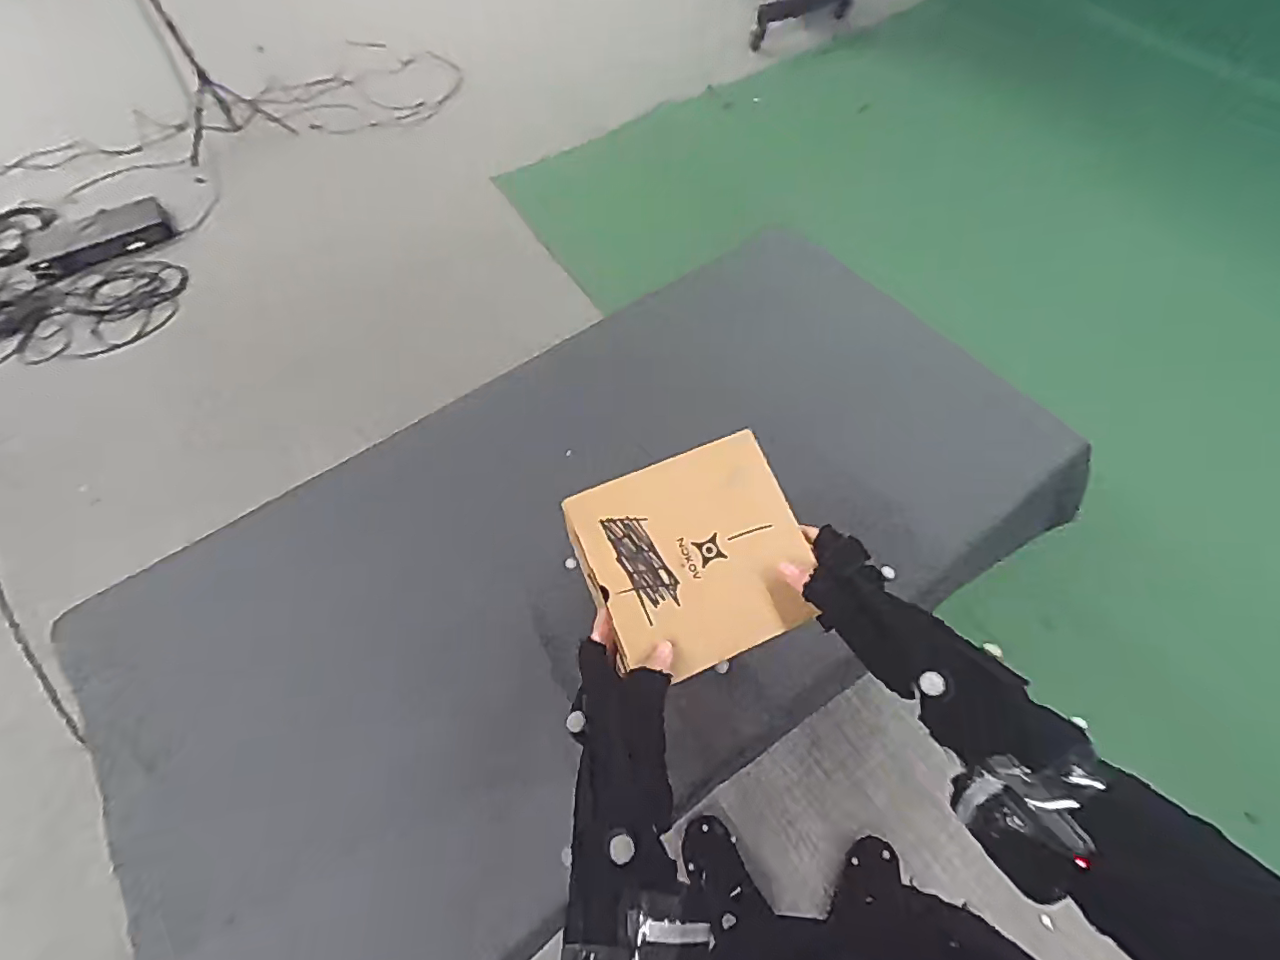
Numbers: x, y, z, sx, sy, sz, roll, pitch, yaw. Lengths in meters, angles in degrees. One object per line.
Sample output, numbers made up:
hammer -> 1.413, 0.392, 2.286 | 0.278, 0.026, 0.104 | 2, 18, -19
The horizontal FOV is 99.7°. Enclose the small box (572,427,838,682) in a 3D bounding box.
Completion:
small box -> 0.046, 0.076, 0.514 | 0.179, 0.176, 0.168 | -20, 77, -10
